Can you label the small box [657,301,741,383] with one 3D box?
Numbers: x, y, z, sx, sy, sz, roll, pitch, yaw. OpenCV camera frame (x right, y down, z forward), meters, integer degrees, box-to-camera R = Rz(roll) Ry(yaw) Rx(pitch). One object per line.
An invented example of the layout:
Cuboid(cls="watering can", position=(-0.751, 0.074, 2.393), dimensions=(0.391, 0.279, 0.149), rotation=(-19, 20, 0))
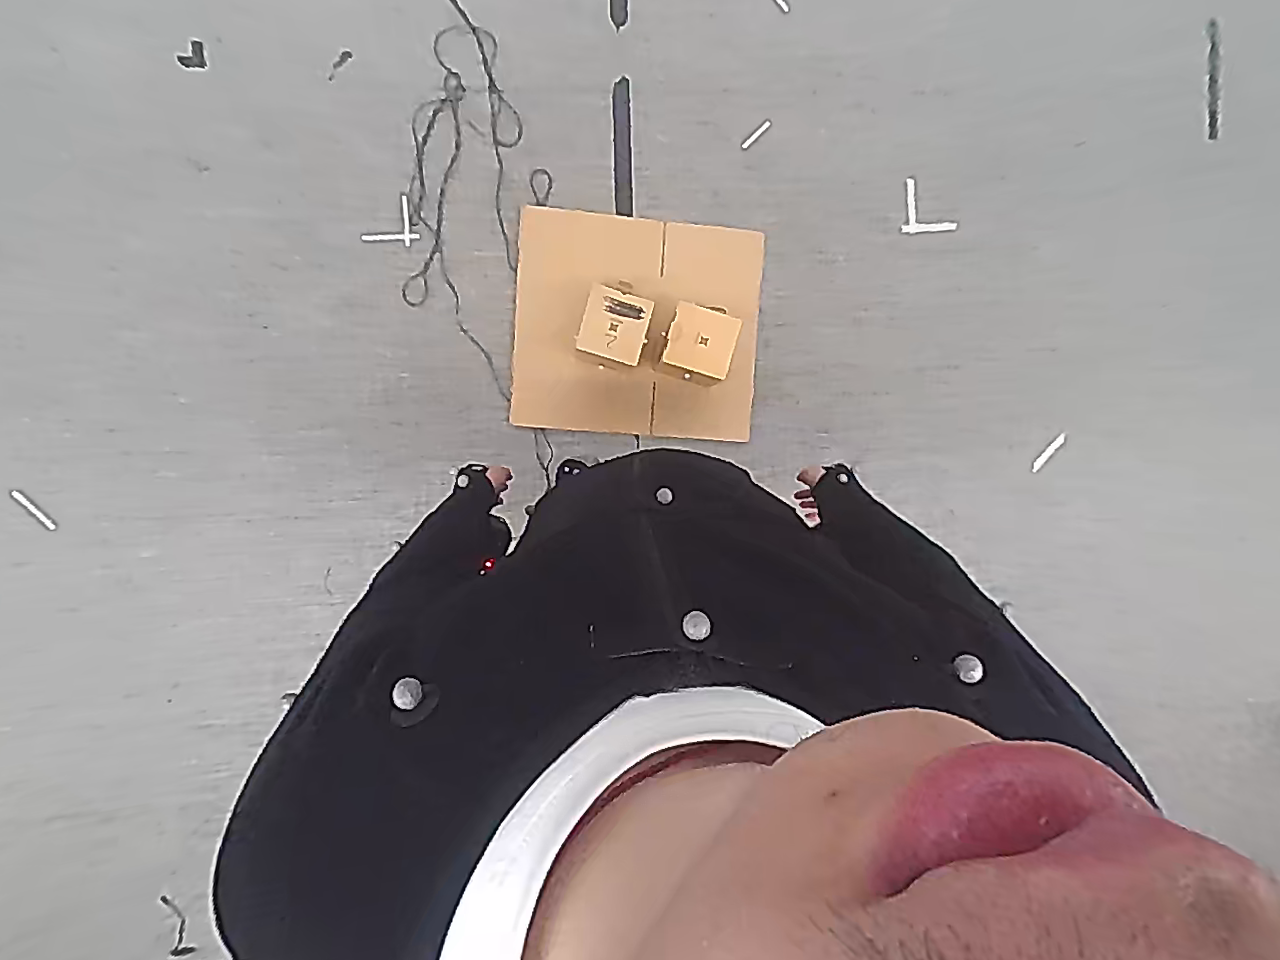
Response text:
Cuboid(cls="small box", position=(0.156, -0.372, 1.495), dimensions=(0.179, 0.176, 0.168), rotation=(15, 91, -4))
